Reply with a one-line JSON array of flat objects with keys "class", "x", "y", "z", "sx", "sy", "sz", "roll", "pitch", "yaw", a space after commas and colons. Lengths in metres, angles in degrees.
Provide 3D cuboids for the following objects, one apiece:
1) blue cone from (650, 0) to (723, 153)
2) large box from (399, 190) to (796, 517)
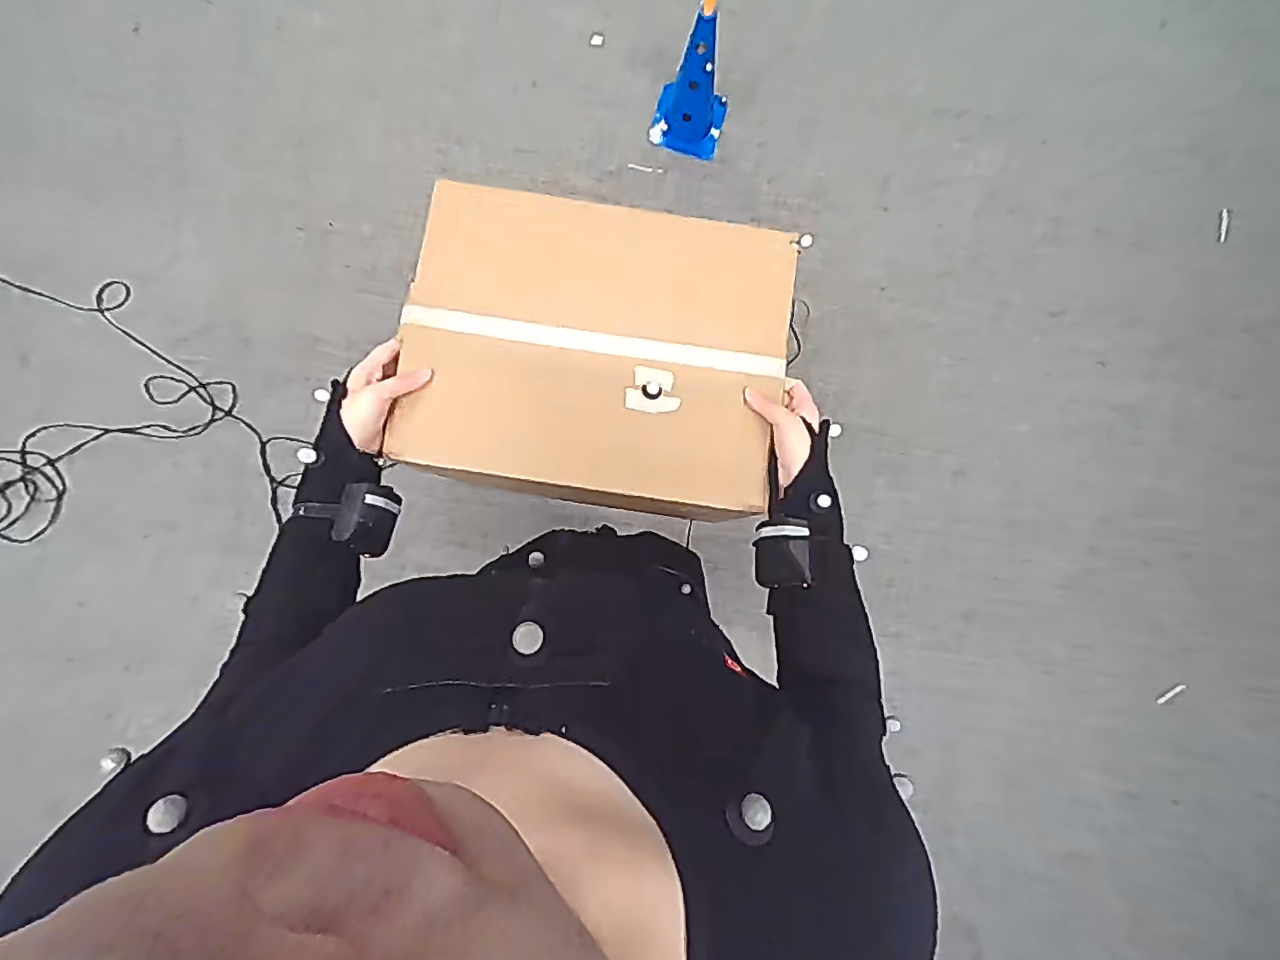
[{"class": "blue cone", "x": 0.145, "y": -1.075, "z": 1.426, "sx": 0.193, "sy": 0.380, "sz": 0.192, "roll": 18, "pitch": 85, "yaw": -2}, {"class": "large box", "x": -0.047, "y": -0.132, "z": 0.734, "sx": 0.408, "sy": 0.320, "sz": 0.320, "roll": 8, "pitch": 84, "yaw": -1}]
